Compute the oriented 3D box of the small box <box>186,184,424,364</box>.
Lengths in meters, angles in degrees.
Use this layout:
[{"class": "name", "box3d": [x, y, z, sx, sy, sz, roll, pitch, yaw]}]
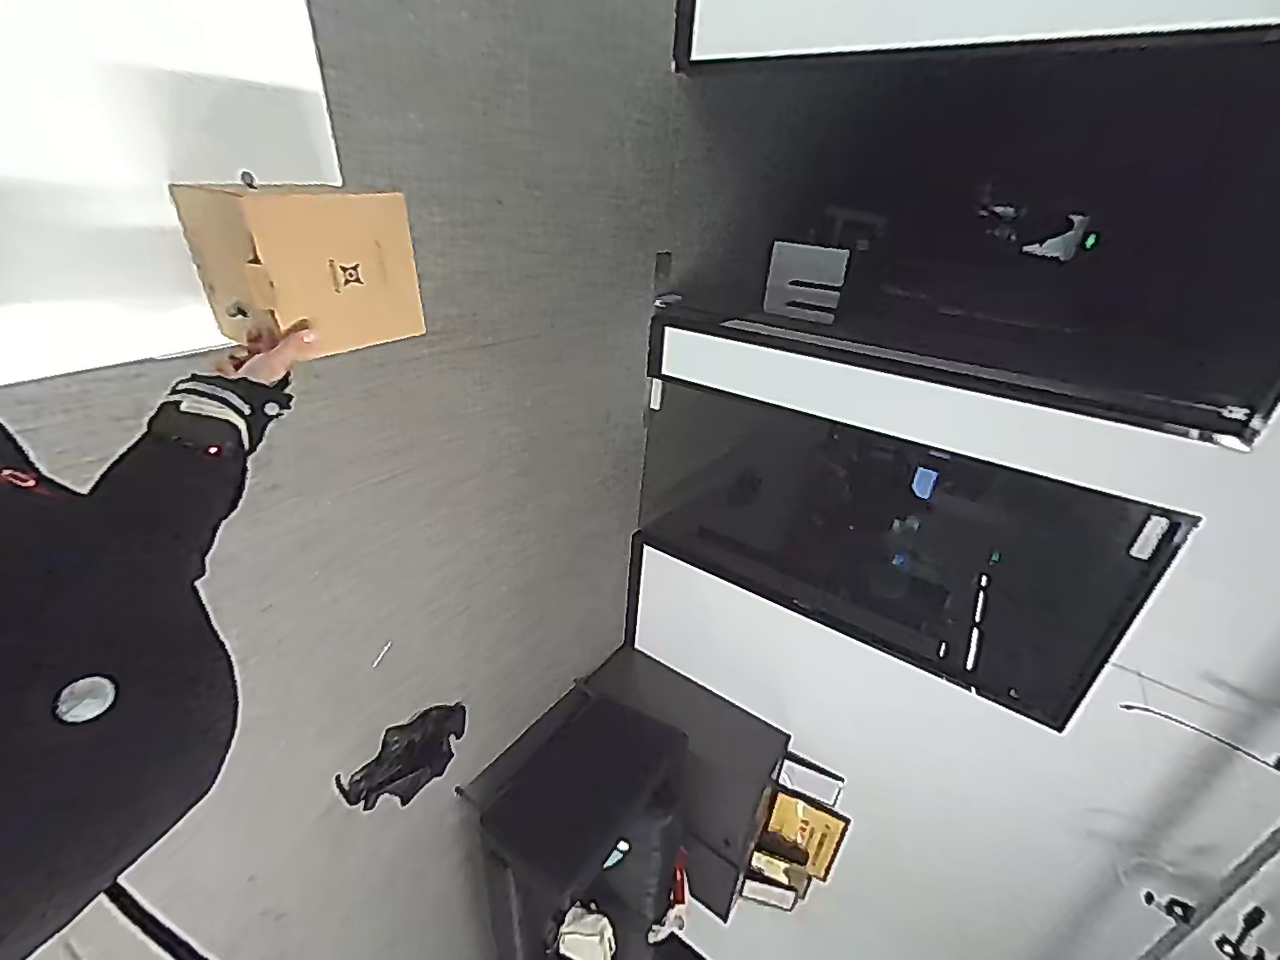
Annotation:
[{"class": "small box", "box3d": [-0.393, -0.251, 0.642, 0.179, 0.176, 0.168, -35, 137, -46]}]
